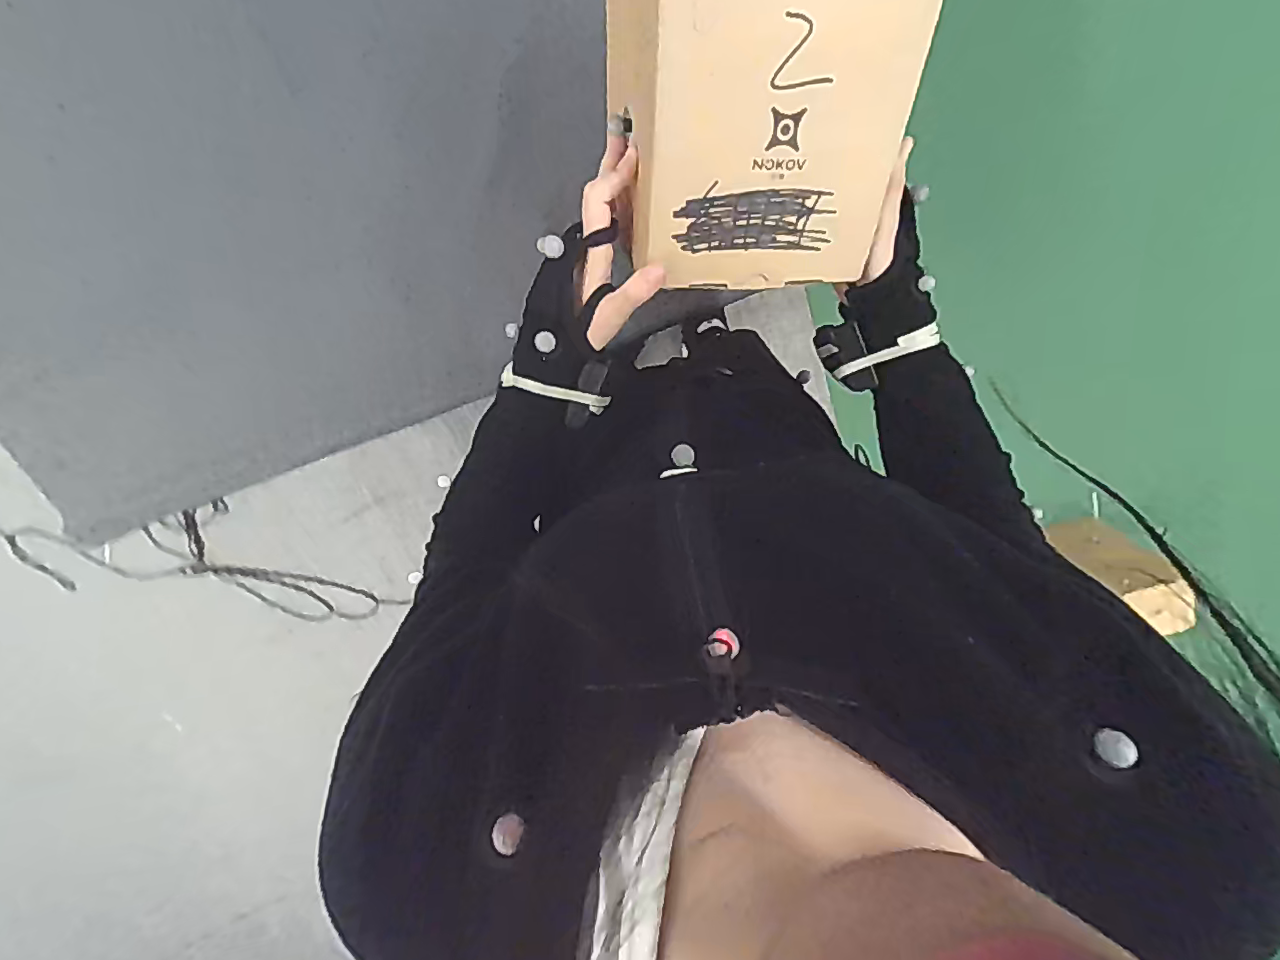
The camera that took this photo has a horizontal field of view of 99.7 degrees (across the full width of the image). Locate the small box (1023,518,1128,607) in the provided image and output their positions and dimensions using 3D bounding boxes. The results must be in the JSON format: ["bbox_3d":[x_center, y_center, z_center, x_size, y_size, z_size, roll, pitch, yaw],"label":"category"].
[{"bbox_3d":[1.254,0.232,1.563,0.179,0.176,0.168,-18,111,7],"label":"small box"}]

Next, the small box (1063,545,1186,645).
[{"bbox_3d":[1.258,0.294,1.413,0.179,0.176,0.168,-20,112,7],"label":"small box"}]
